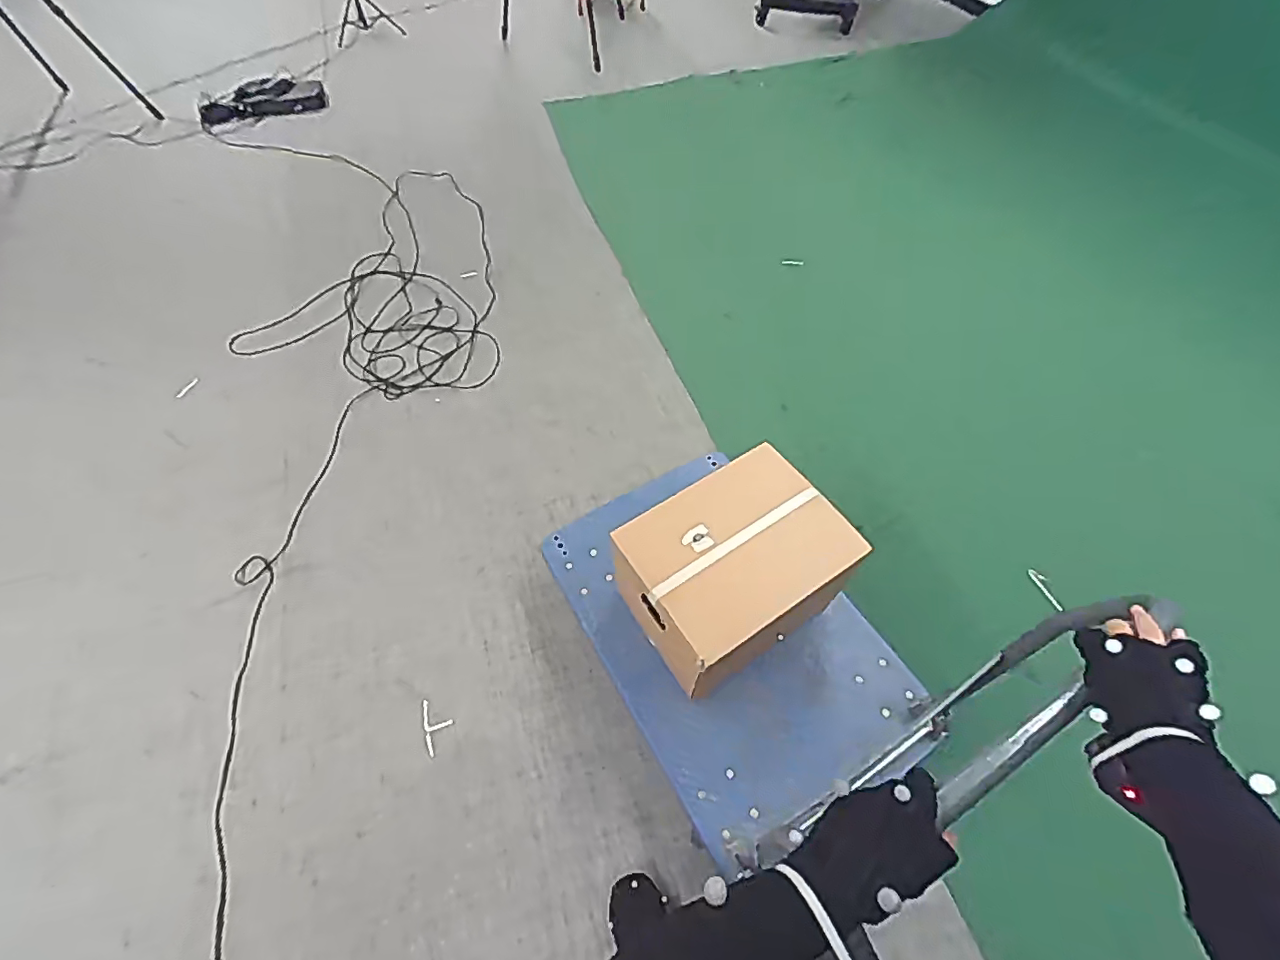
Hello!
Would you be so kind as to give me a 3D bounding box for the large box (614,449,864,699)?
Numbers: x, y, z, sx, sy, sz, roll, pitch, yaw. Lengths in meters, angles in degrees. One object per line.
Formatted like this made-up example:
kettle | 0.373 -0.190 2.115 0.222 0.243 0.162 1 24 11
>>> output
large box | 0.198 0.209 1.187 0.408 0.320 0.320 -31 61 -16
